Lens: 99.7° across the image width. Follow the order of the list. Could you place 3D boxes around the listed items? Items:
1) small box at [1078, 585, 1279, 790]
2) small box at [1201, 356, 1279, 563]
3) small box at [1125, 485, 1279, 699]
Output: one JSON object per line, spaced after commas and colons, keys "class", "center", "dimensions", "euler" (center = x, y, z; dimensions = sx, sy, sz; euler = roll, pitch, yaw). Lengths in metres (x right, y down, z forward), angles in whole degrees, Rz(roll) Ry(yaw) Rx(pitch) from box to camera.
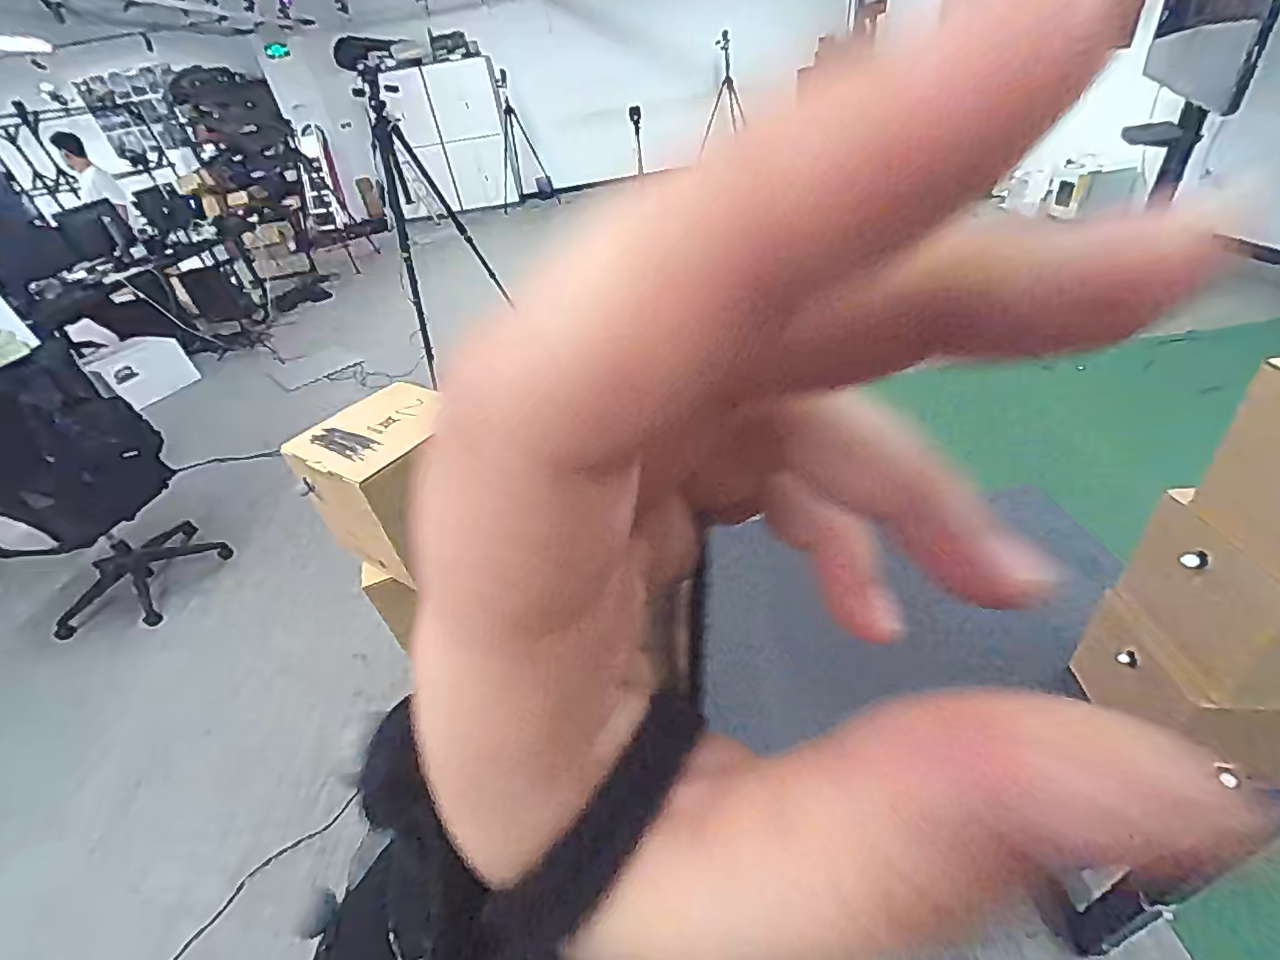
{"class": "small box", "center": [0.696, 0.251, 0.671], "dimensions": [0.168, 0.176, 0.179], "euler": [-4, 35, 11]}
{"class": "small box", "center": [0.667, -0.005, 0.467], "dimensions": [0.168, 0.176, 0.179], "euler": [-4, 34, 10]}
{"class": "small box", "center": [0.685, 0.117, 0.579], "dimensions": [0.168, 0.176, 0.179], "euler": [-5, 33, 9]}
